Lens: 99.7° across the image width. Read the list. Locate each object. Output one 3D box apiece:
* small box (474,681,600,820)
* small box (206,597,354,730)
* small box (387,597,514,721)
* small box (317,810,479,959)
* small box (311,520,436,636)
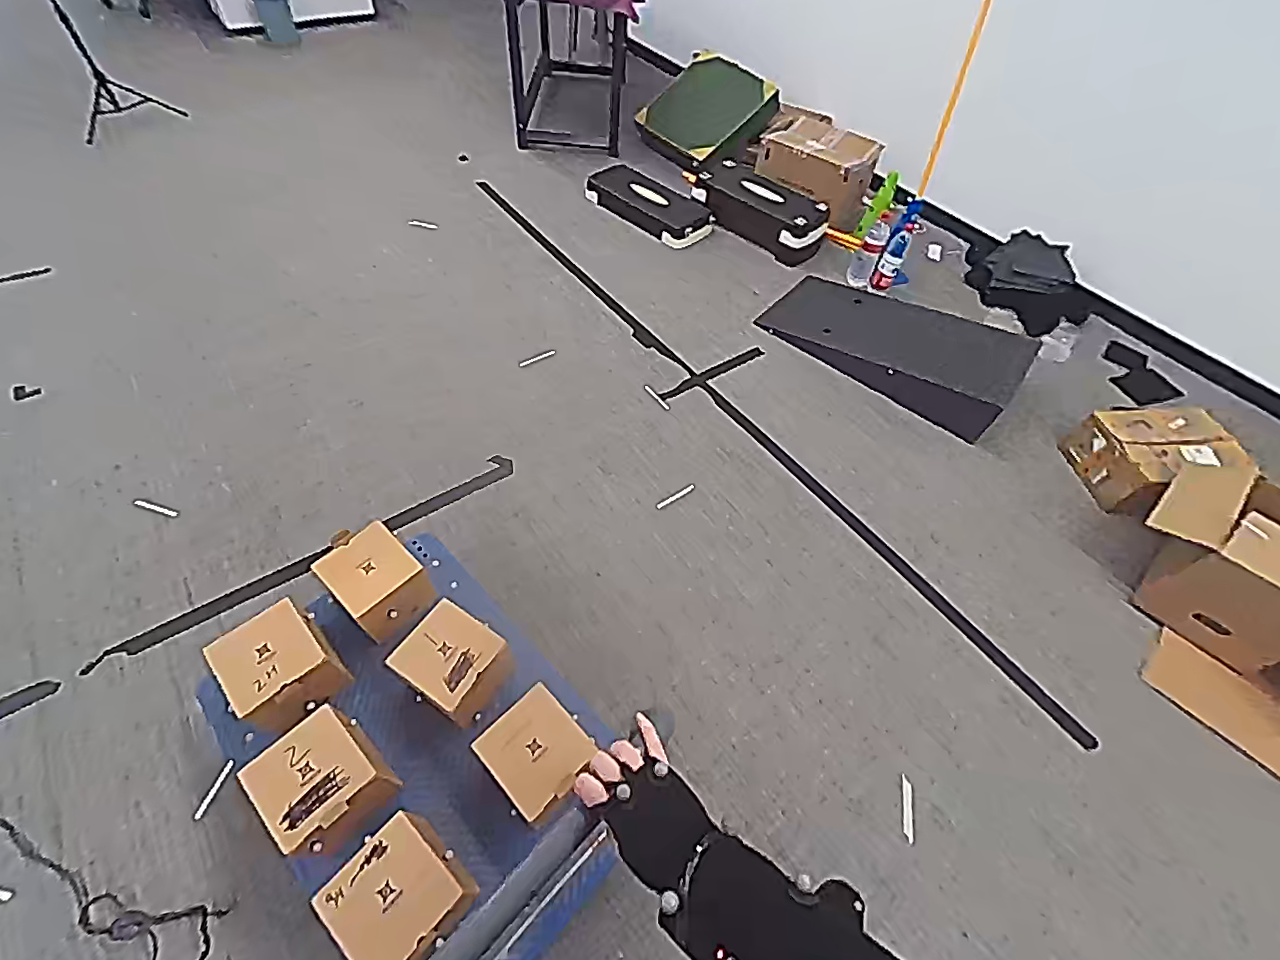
[{"bbox_3d":[-0.195,0.535,1.063,0.179,0.176,0.168,40,60,22],"label":"small box"},{"bbox_3d":[-0.730,0.381,1.113,0.168,0.176,0.179,-37,67,-27],"label":"small box"},{"bbox_3d":[-0.389,0.386,1.147,0.179,0.176,0.168,29,57,15],"label":"small box"},{"bbox_3d":[-0.398,0.702,0.922,0.179,0.176,0.168,37,58,19],"label":"small box"},{"bbox_3d":[-0.596,0.232,1.235,0.179,0.176,0.168,37,60,19],"label":"small box"}]
